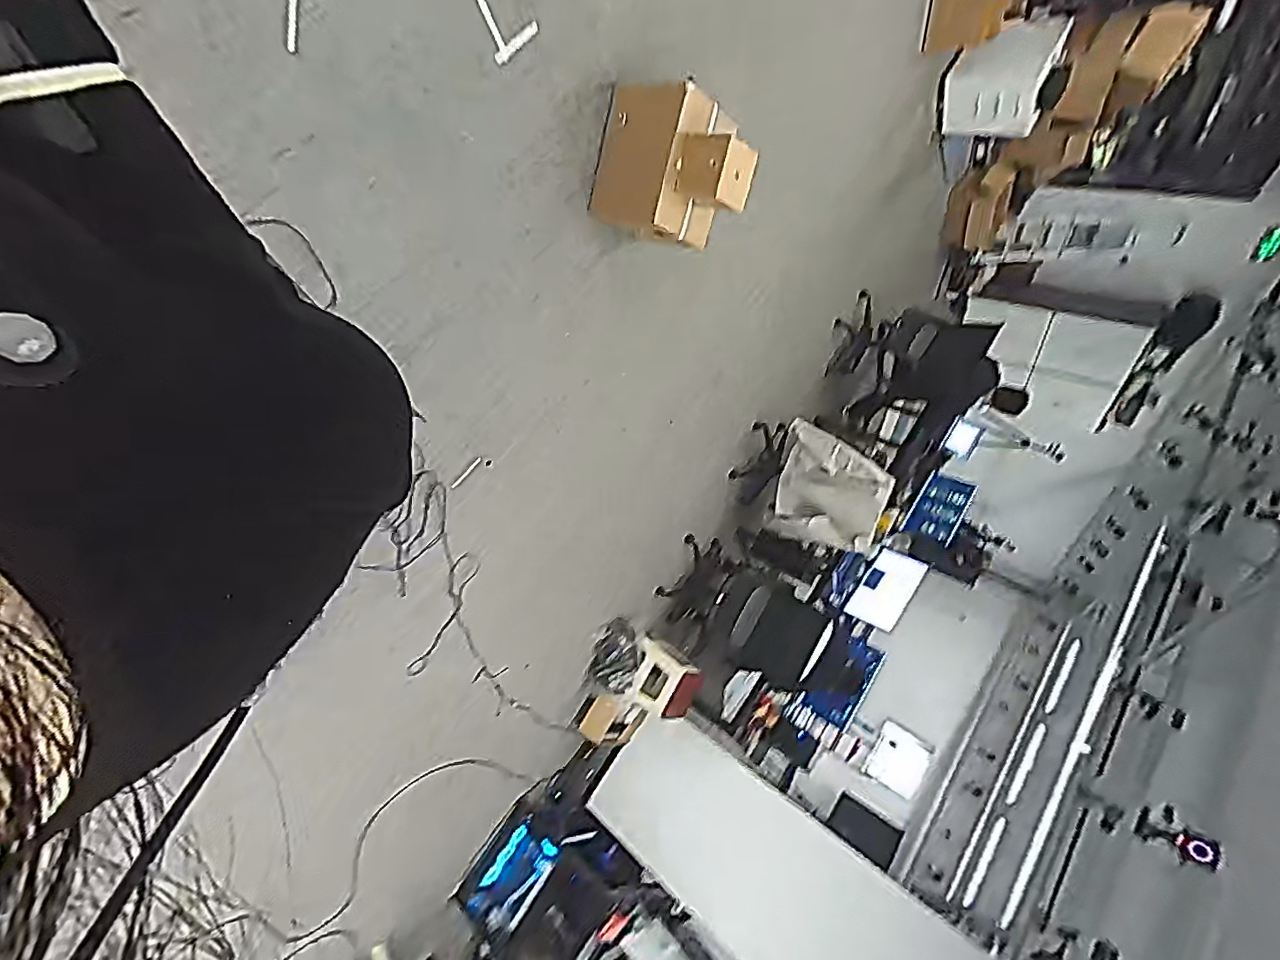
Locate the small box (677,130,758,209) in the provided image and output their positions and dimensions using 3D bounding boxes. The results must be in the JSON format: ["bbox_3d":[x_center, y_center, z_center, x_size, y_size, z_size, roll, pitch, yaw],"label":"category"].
[{"bbox_3d":[0.241,-0.980,1.707,0.168,0.176,0.179,-9,120,-49],"label":"small box"}]
